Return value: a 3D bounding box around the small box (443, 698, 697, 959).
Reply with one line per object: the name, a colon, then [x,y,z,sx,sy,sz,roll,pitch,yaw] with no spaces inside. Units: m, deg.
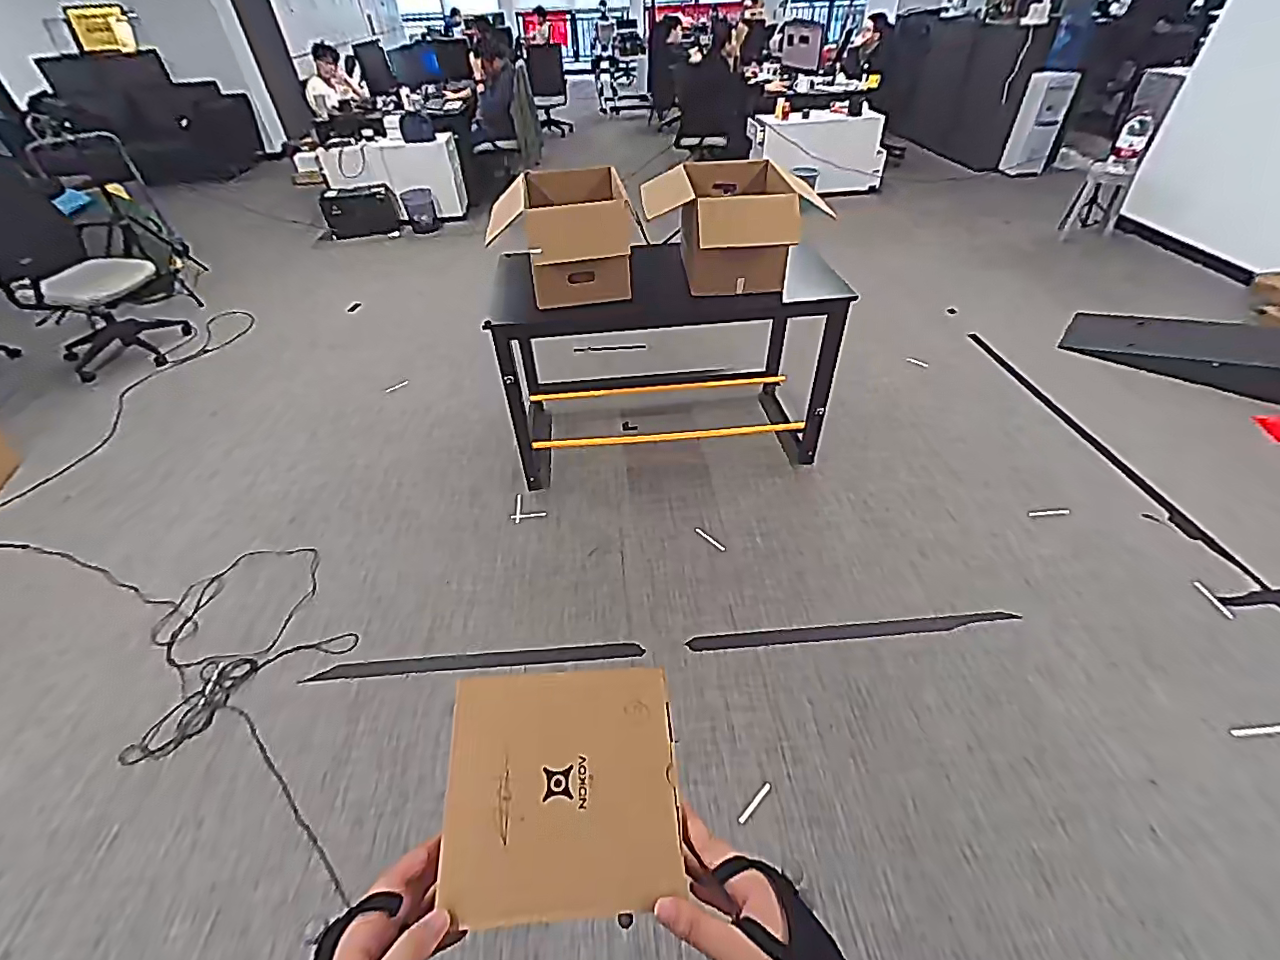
small box: [-0.056,0.301,0.476,0.179,0.176,0.168,-4,56,-4]
